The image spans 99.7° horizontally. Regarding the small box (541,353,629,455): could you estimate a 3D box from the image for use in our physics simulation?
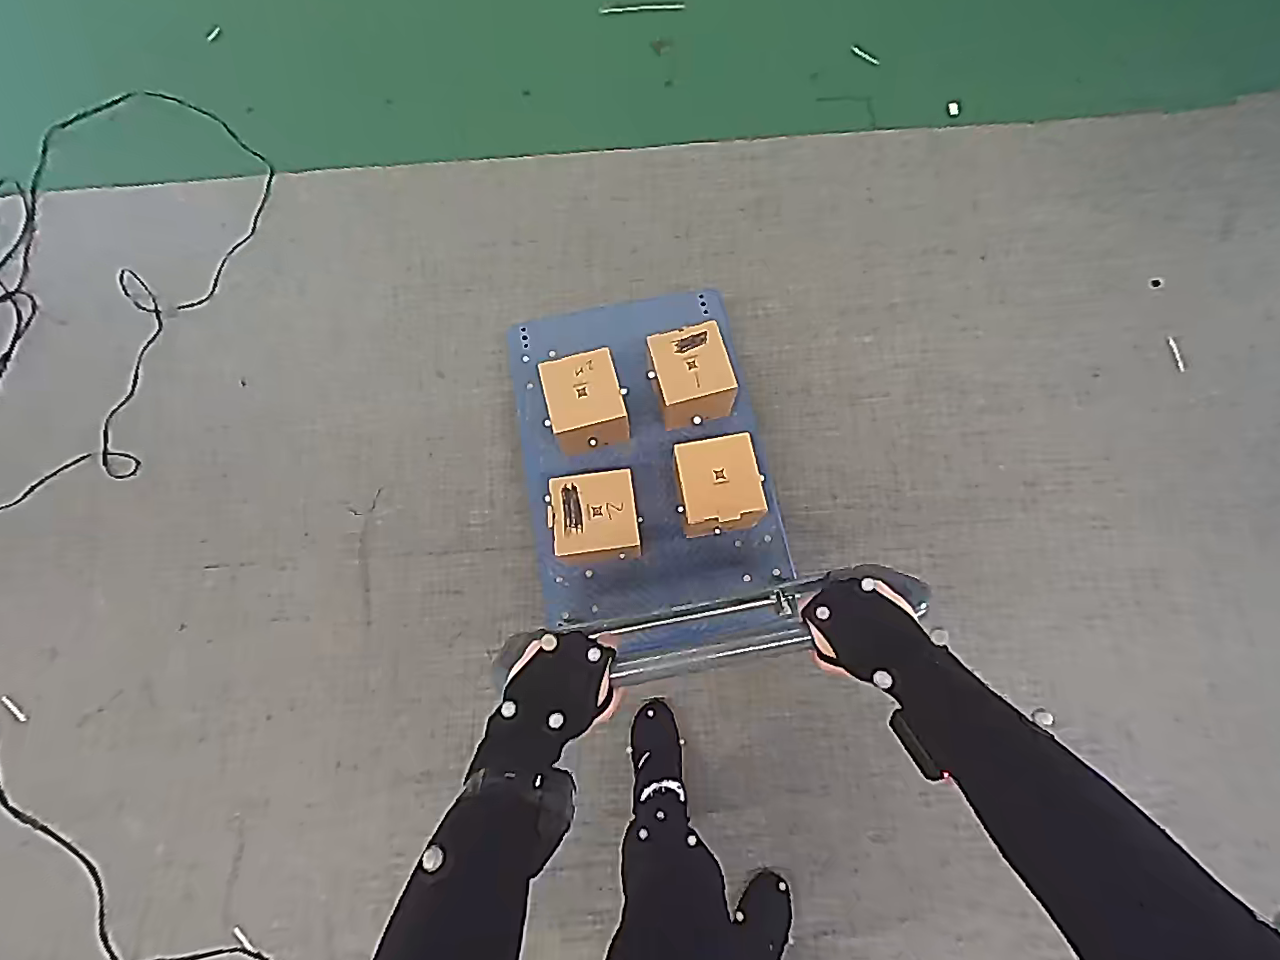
[{"bbox_3d":[-0.125,-0.170,1.287,0.168,0.176,0.179,-14,74,-3],"label":"small box"}]

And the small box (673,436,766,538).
[{"bbox_3d":[0.171,0.020,1.224,0.168,0.176,0.179,-10,74,-1],"label":"small box"}]

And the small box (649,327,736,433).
[{"bbox_3d":[0.119,-0.235,1.298,0.168,0.176,0.179,-14,75,-1],"label":"small box"}]
